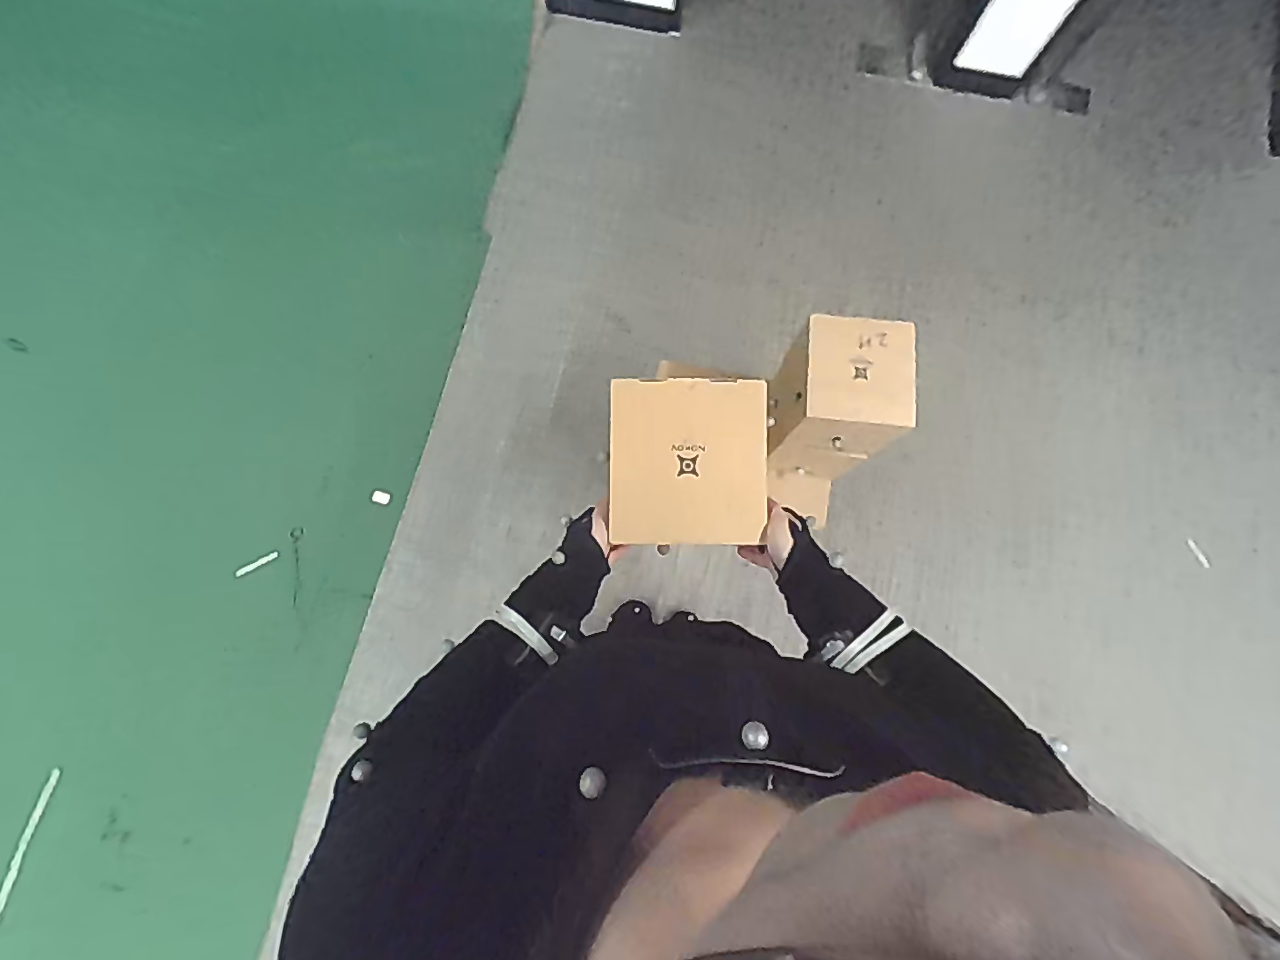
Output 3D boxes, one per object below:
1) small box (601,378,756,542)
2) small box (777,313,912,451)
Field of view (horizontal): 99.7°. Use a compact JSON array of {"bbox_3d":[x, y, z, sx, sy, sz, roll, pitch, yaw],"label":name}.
[{"bbox_3d":[0.044,-0.018,0.655,0.168,0.176,0.179,0,86,0],"label":"small box"},{"bbox_3d":[0.337,-0.156,0.916,0.168,0.176,0.179,7,78,1],"label":"small box"}]
